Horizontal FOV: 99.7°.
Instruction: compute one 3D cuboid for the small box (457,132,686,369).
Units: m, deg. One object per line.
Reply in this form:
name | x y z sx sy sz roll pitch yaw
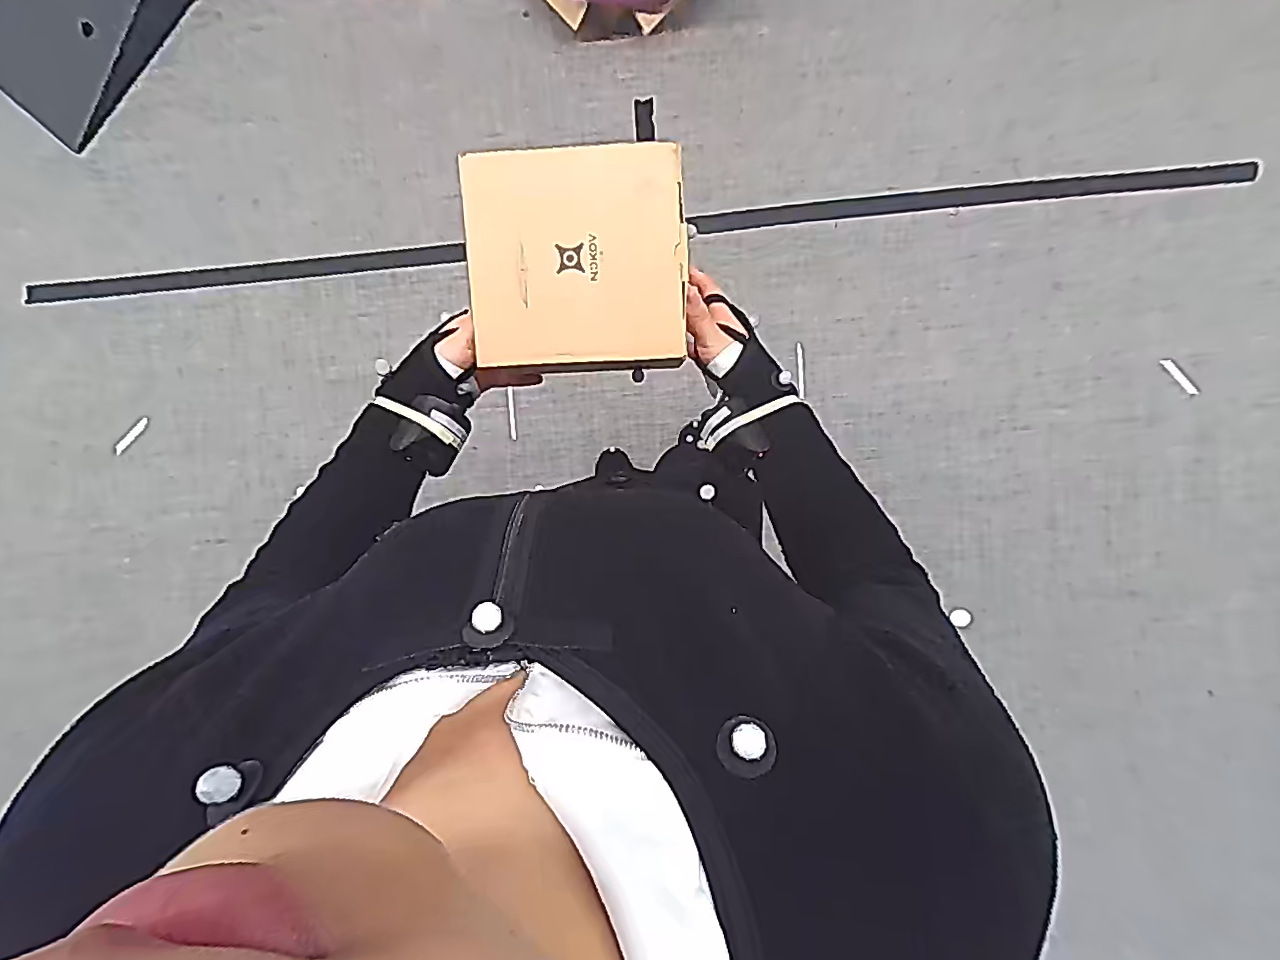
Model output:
small box | -0.050 -0.195 0.508 0.179 0.176 0.168 -3 98 4
